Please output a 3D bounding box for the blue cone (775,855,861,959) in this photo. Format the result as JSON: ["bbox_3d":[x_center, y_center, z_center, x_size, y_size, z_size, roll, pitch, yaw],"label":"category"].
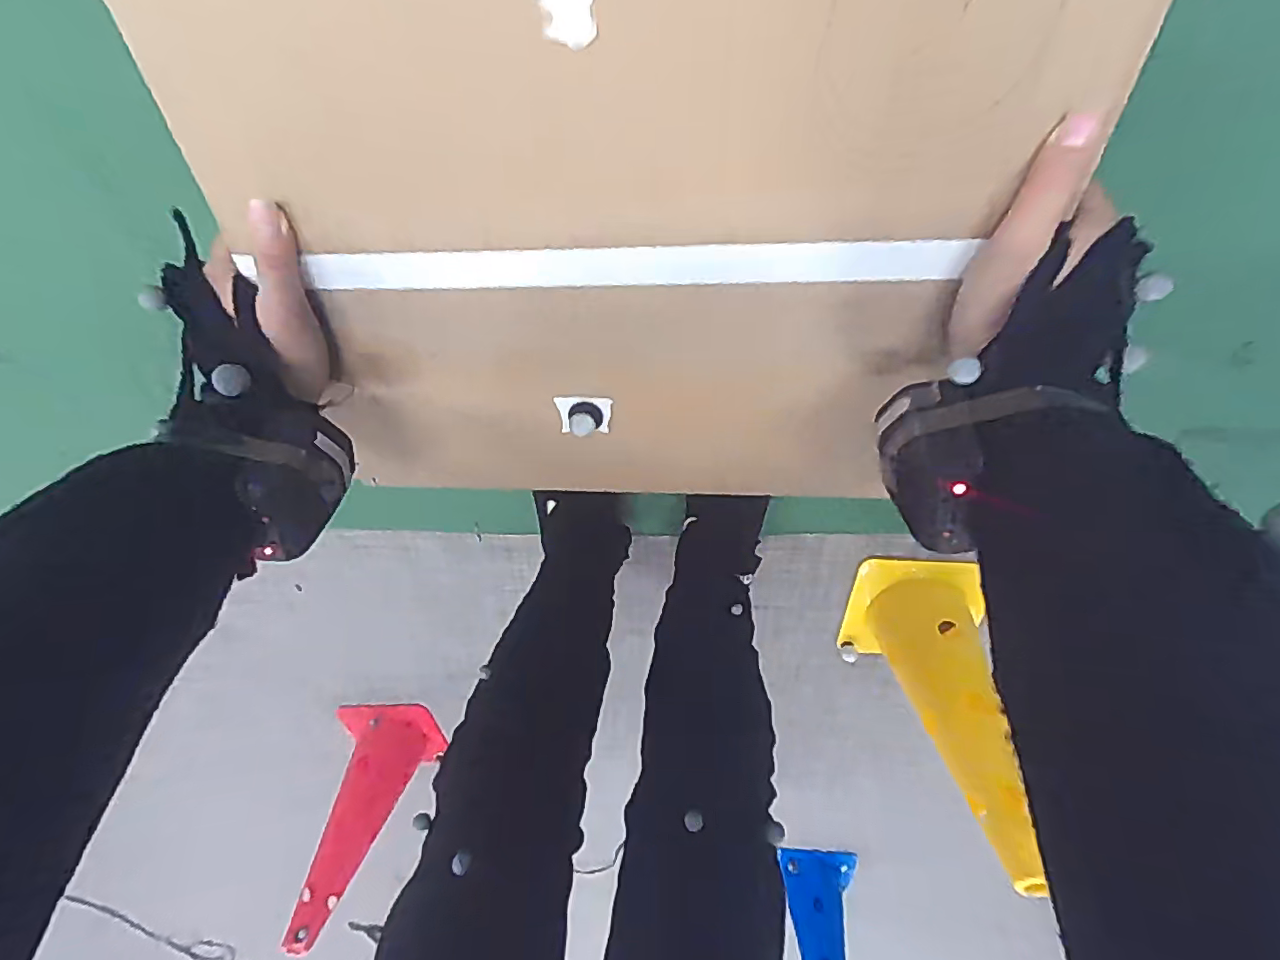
[{"bbox_3d":[0.408,1.027,1.148,0.192,0.380,0.193,0,123,5],"label":"blue cone"}]

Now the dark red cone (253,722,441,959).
[{"bbox_3d":[-0.530,0.630,0.943,0.202,0.394,0.201,-6,119,10],"label":"dark red cone"}]
